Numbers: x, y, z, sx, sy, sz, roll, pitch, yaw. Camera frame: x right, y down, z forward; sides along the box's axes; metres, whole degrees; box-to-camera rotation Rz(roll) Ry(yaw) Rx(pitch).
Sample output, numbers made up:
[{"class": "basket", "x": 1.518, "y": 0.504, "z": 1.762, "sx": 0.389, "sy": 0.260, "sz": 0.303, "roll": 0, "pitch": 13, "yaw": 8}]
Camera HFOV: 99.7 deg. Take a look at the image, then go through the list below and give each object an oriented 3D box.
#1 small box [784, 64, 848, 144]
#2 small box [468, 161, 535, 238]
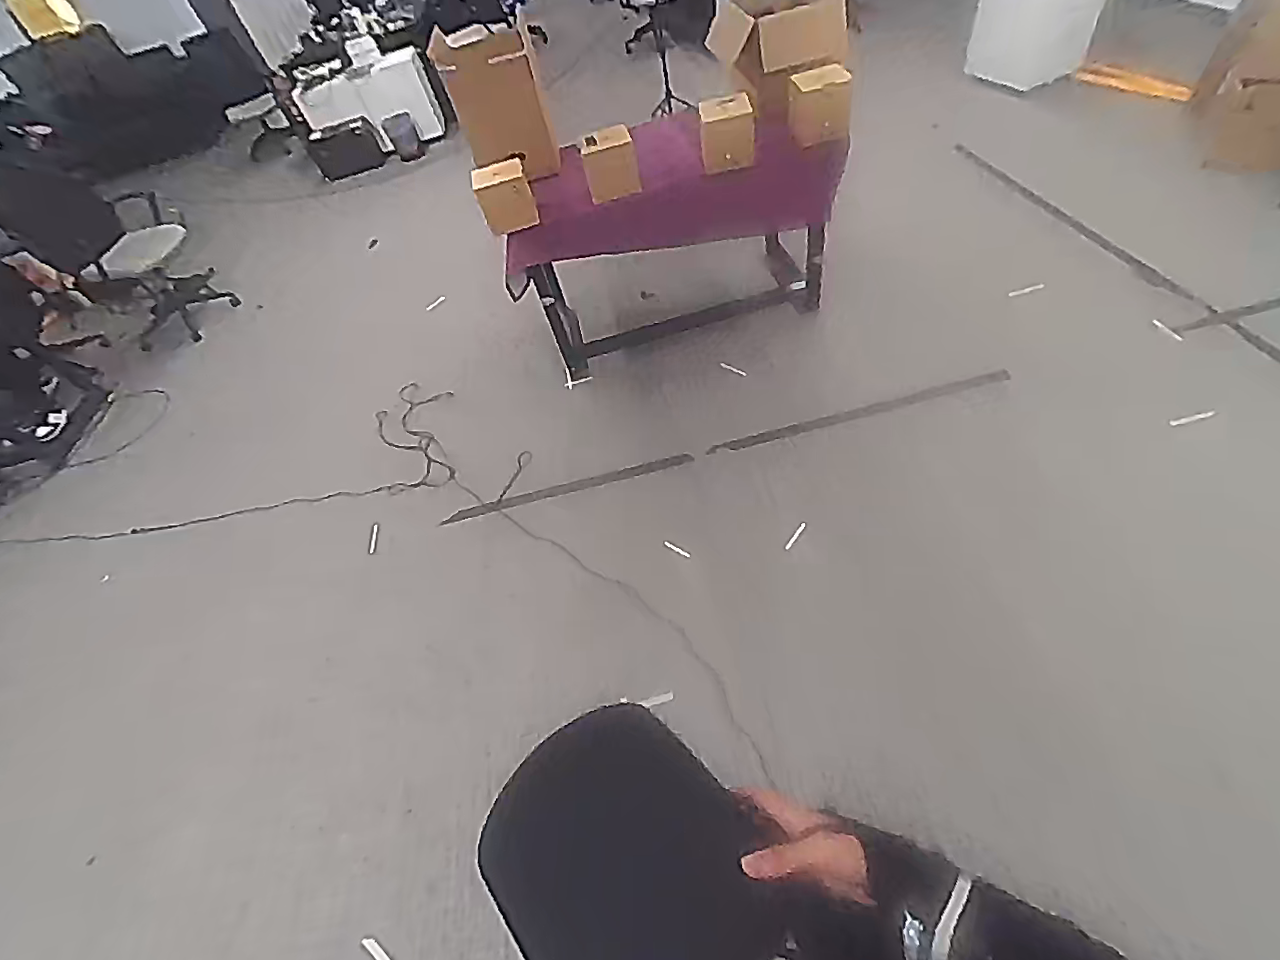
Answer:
[{"class": "small box", "x": 0.593, "y": -1.280, "z": 1.846, "sx": 0.168, "sy": 0.176, "sz": 0.179, "roll": -12, "pitch": 51, "yaw": 6}, {"class": "small box", "x": -0.483, "y": -0.977, "z": 1.890, "sx": 0.179, "sy": 0.176, "sz": 0.168, "roll": -17, "pitch": 51, "yaw": 0}]
